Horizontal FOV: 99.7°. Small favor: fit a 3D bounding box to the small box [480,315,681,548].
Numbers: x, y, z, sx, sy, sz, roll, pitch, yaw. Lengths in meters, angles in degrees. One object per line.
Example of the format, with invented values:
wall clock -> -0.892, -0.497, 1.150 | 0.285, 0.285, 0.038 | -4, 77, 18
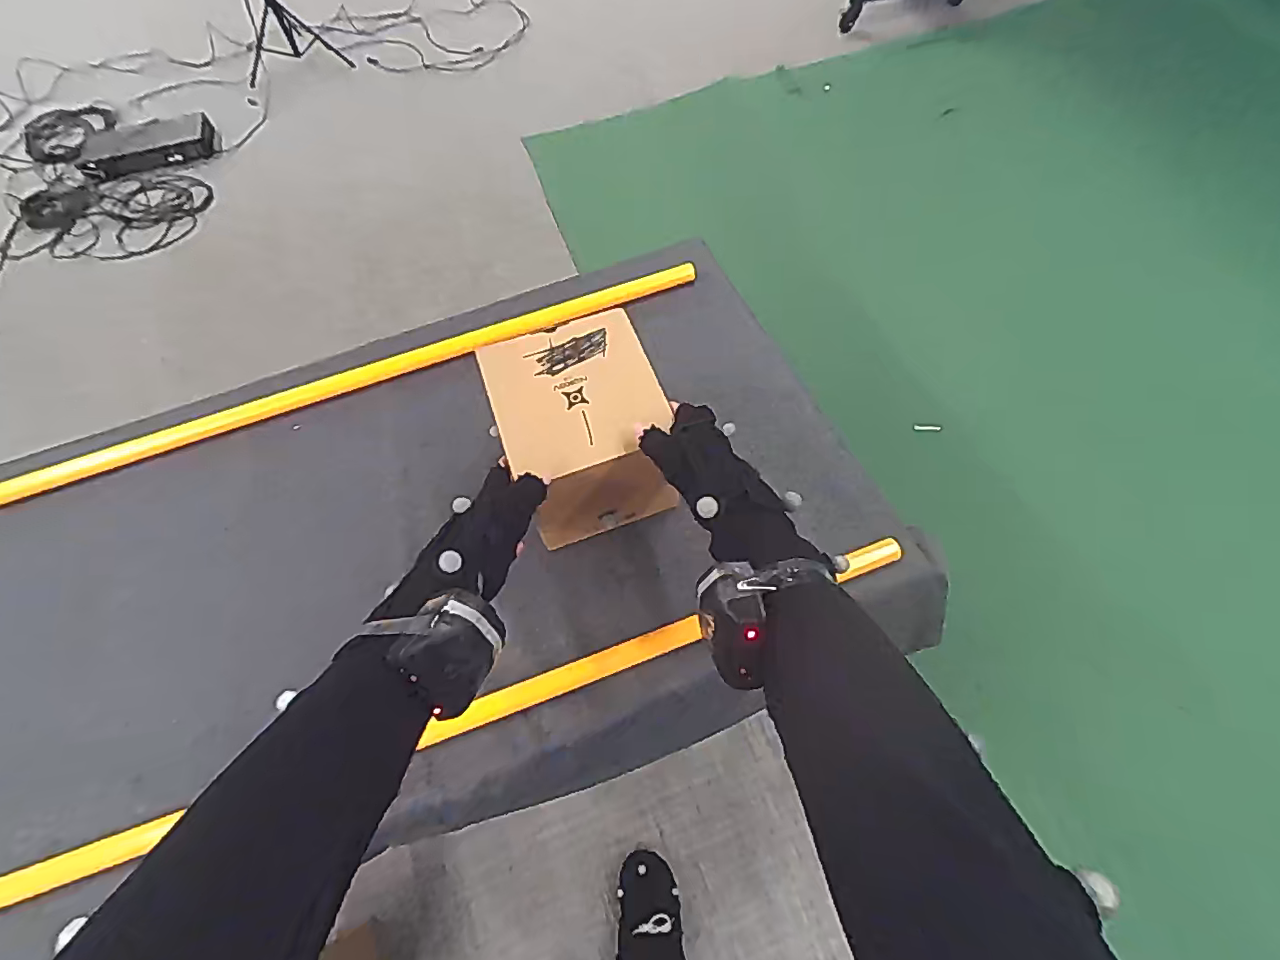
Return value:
small box -> -0.064, -0.048, 0.613 | 0.168, 0.176, 0.179 | -19, 65, -7
